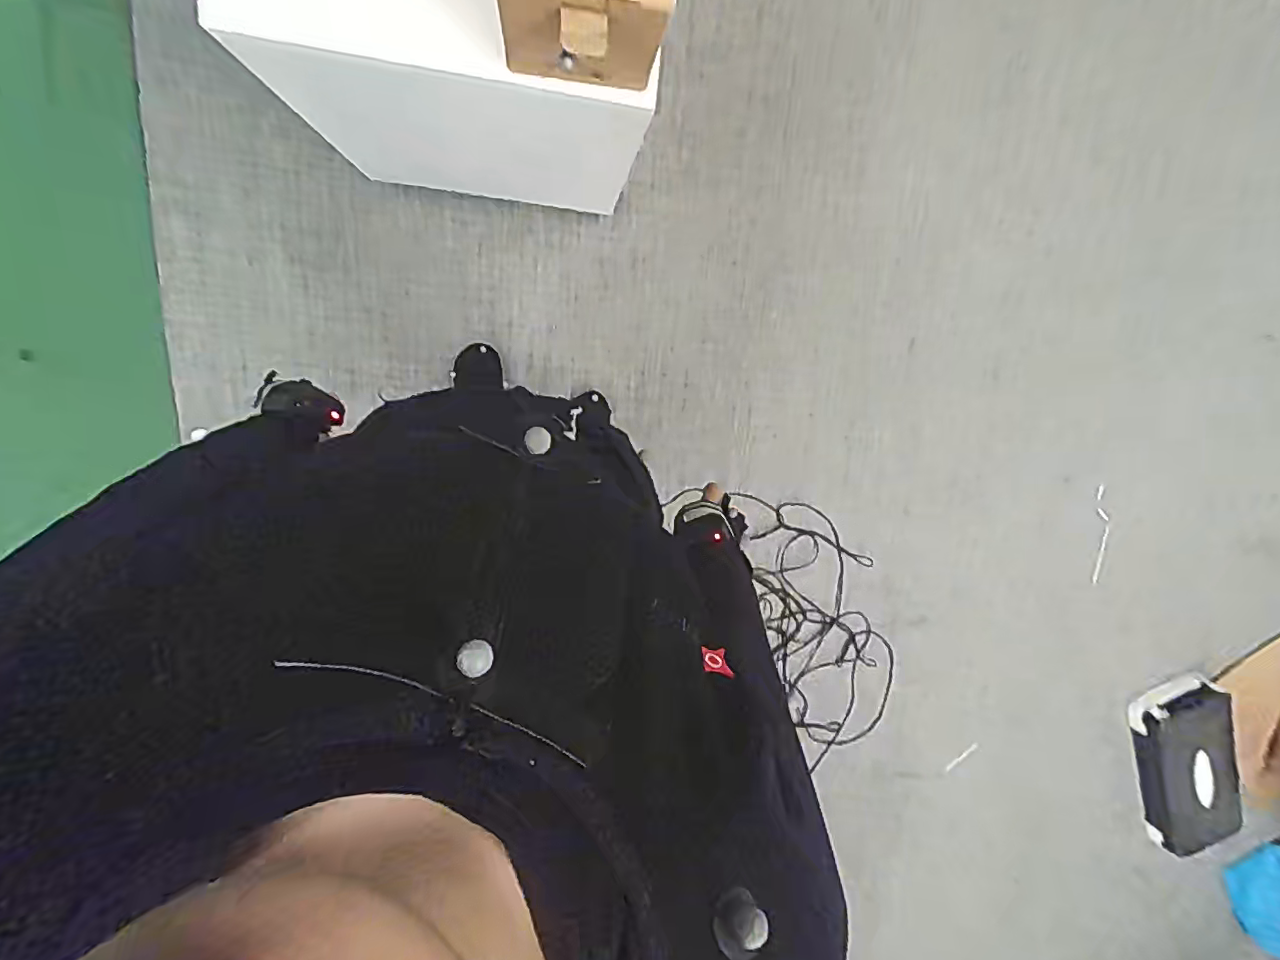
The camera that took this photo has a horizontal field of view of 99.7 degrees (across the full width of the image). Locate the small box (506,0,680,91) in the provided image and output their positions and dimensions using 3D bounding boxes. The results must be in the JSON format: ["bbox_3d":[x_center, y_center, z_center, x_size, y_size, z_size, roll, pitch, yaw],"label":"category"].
[{"bbox_3d":[-0.050,-0.543,0.551,0.168,0.176,0.179,2,103,-9],"label":"small box"}]
